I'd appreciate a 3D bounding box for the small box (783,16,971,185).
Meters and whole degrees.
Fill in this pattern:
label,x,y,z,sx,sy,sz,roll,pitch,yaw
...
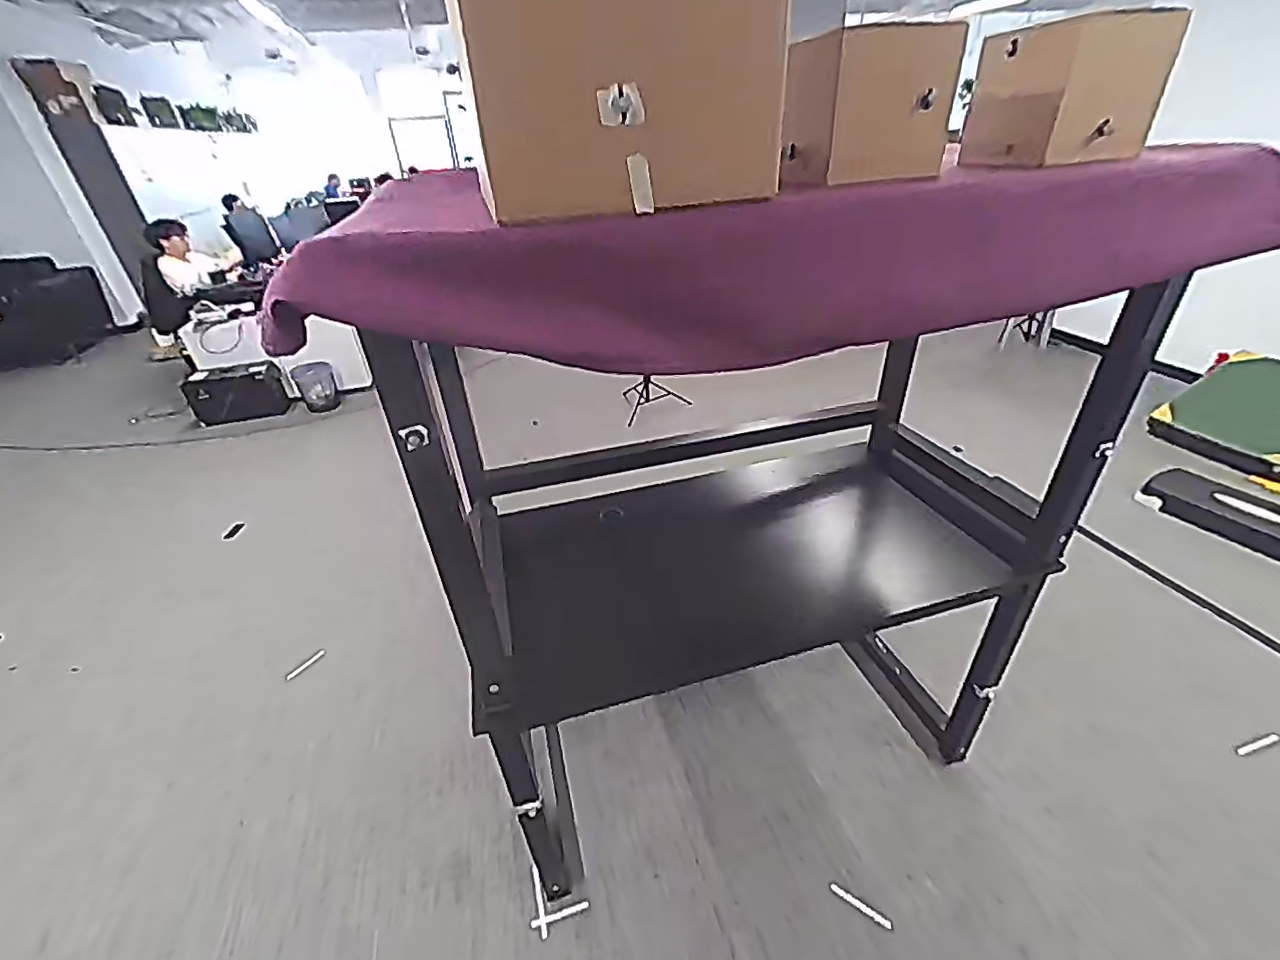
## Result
label,x,y,z,sx,sy,sz,roll,pitch,yaw
small box,0.304,-0.513,0.745,0.179,0.176,0.168,-11,32,-10

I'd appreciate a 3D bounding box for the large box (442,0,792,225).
label,x,y,z,sx,sy,sz,roll,pitch,yaw
large box,-0.055,-0.501,0.643,0.320,0.320,0.408,-11,32,-12

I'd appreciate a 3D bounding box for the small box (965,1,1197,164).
label,x,y,z,sx,sy,sz,roll,pitch,yaw
small box,0.614,-0.564,0.782,0.179,0.176,0.168,-10,32,-10
